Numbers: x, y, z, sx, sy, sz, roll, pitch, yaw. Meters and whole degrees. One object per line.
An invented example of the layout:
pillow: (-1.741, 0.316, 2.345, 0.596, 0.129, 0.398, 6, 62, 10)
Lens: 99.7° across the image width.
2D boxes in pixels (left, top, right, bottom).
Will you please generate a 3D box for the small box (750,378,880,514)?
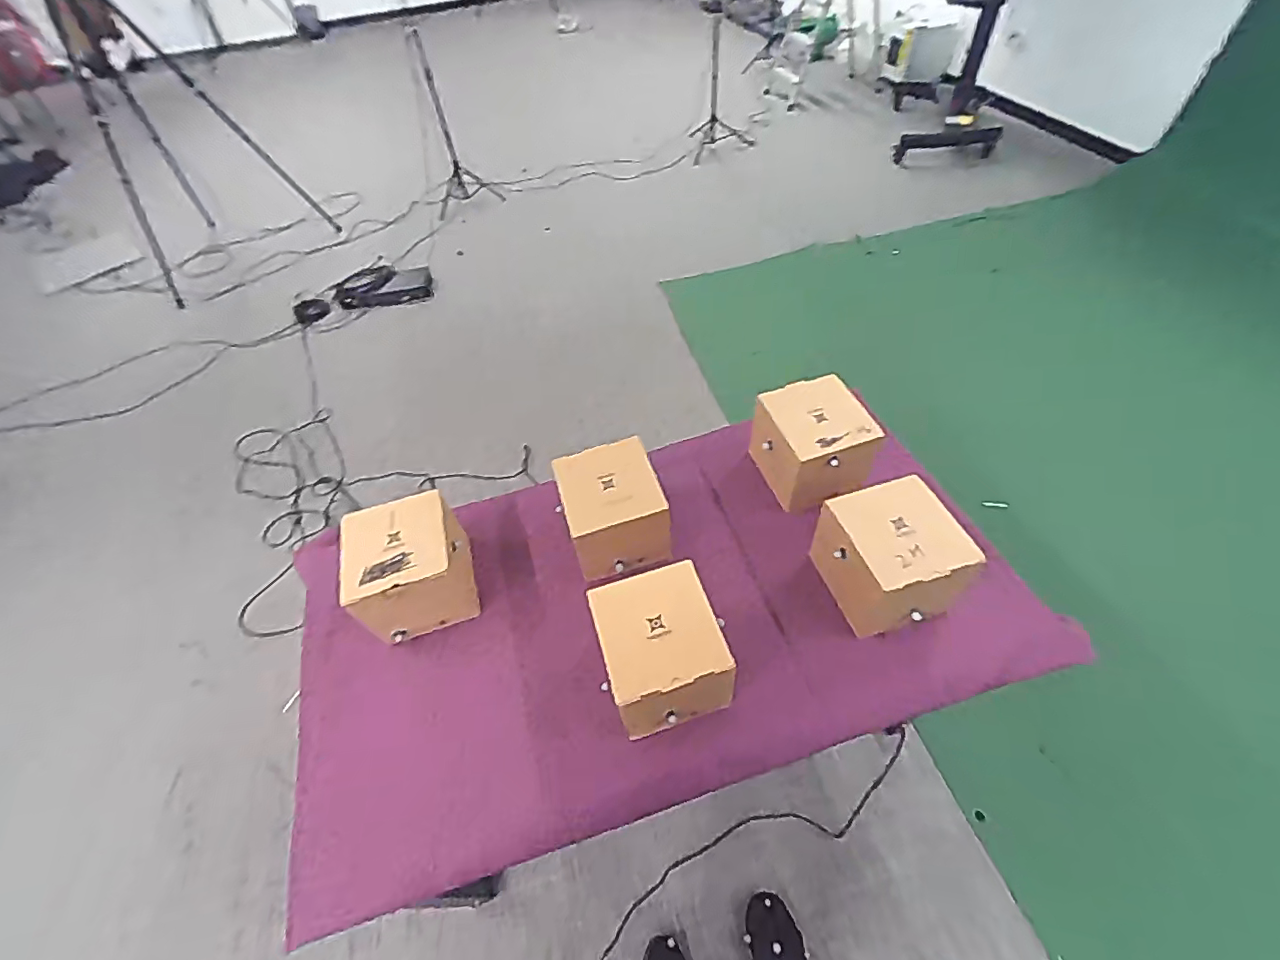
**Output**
small box: (0.325, -0.065, 1.047, 0.168, 0.176, 0.179, -17, 52, -8)

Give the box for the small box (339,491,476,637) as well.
small box: (-0.395, 0.153, 0.937, 0.168, 0.176, 0.179, -16, 52, -9)

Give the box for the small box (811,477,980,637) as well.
small box: (0.399, 0.128, 0.885, 0.168, 0.176, 0.179, -16, 51, -6)

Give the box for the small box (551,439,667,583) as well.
small box: (-0.054, 0.058, 0.987, 0.168, 0.176, 0.179, -16, 53, -7)
